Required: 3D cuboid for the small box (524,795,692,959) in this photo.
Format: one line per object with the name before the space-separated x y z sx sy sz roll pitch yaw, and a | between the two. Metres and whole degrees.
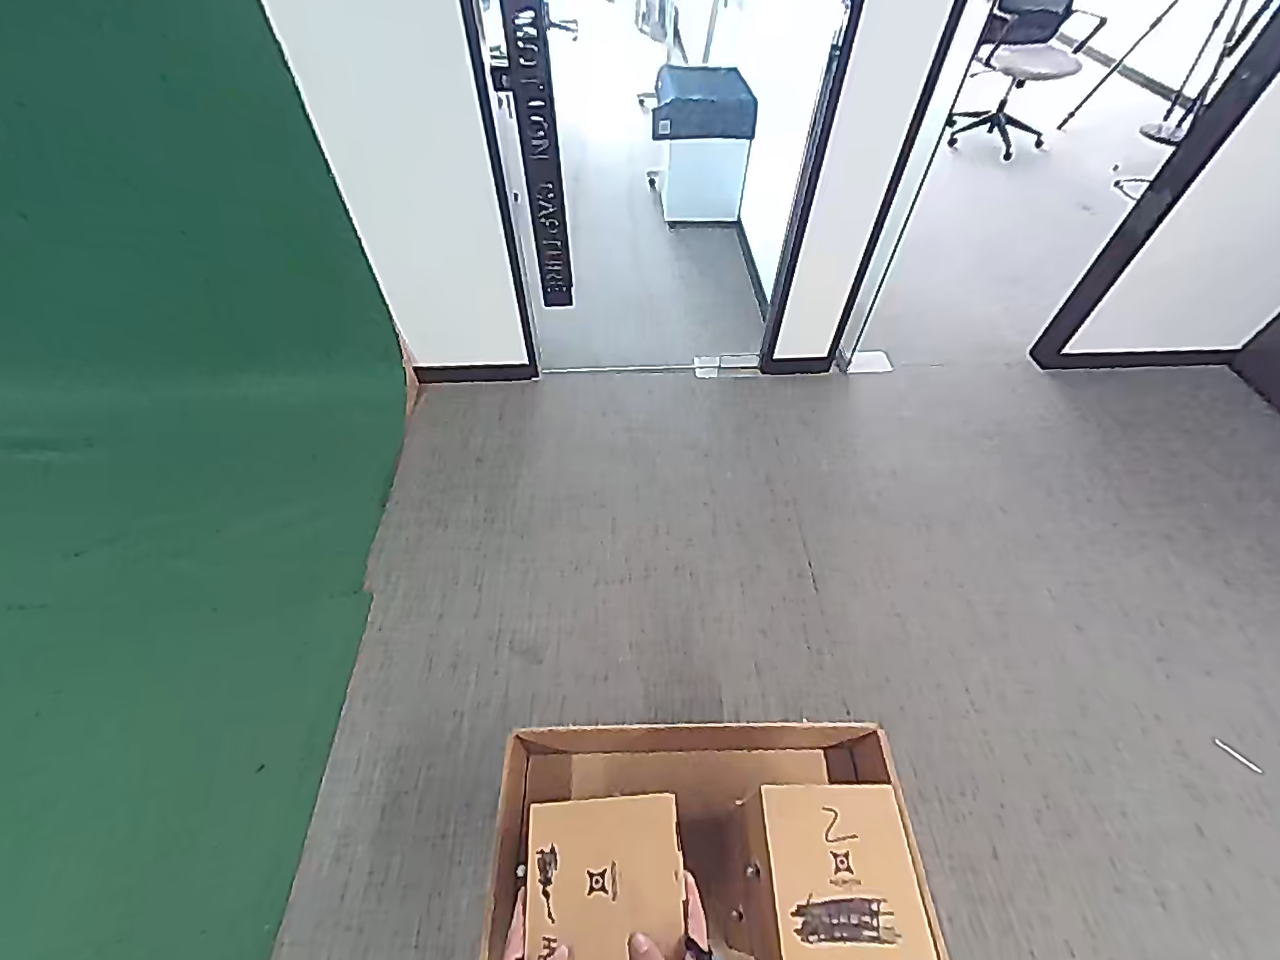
small box | -0.040 0.494 0.662 0.179 0.176 0.168 -2 52 -3
